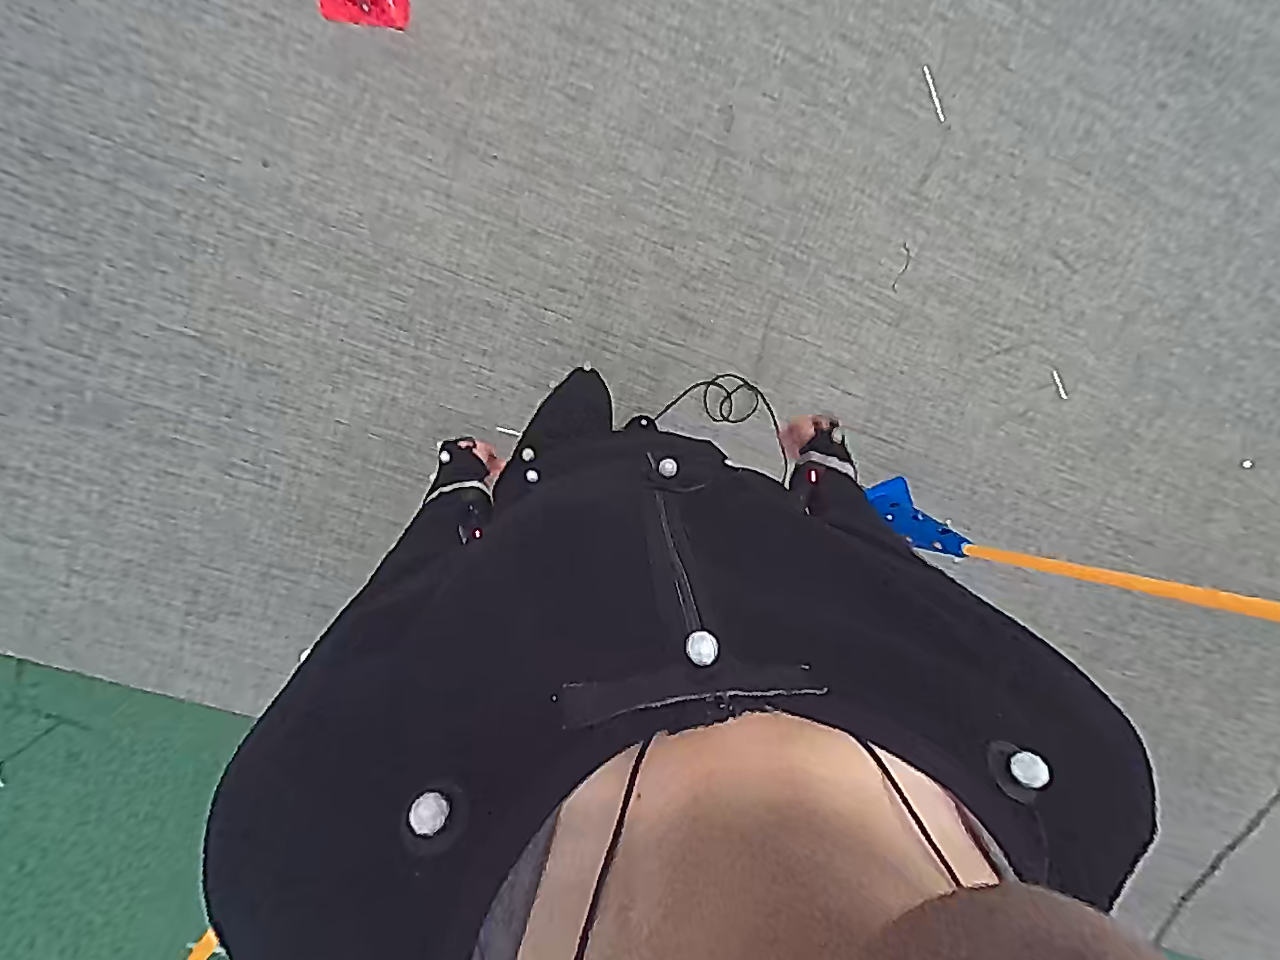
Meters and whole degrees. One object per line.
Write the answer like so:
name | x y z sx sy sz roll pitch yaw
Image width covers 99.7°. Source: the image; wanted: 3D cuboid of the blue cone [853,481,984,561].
blue cone | 0.747 0.134 1.419 0.193 0.380 0.192 -25 101 -3
